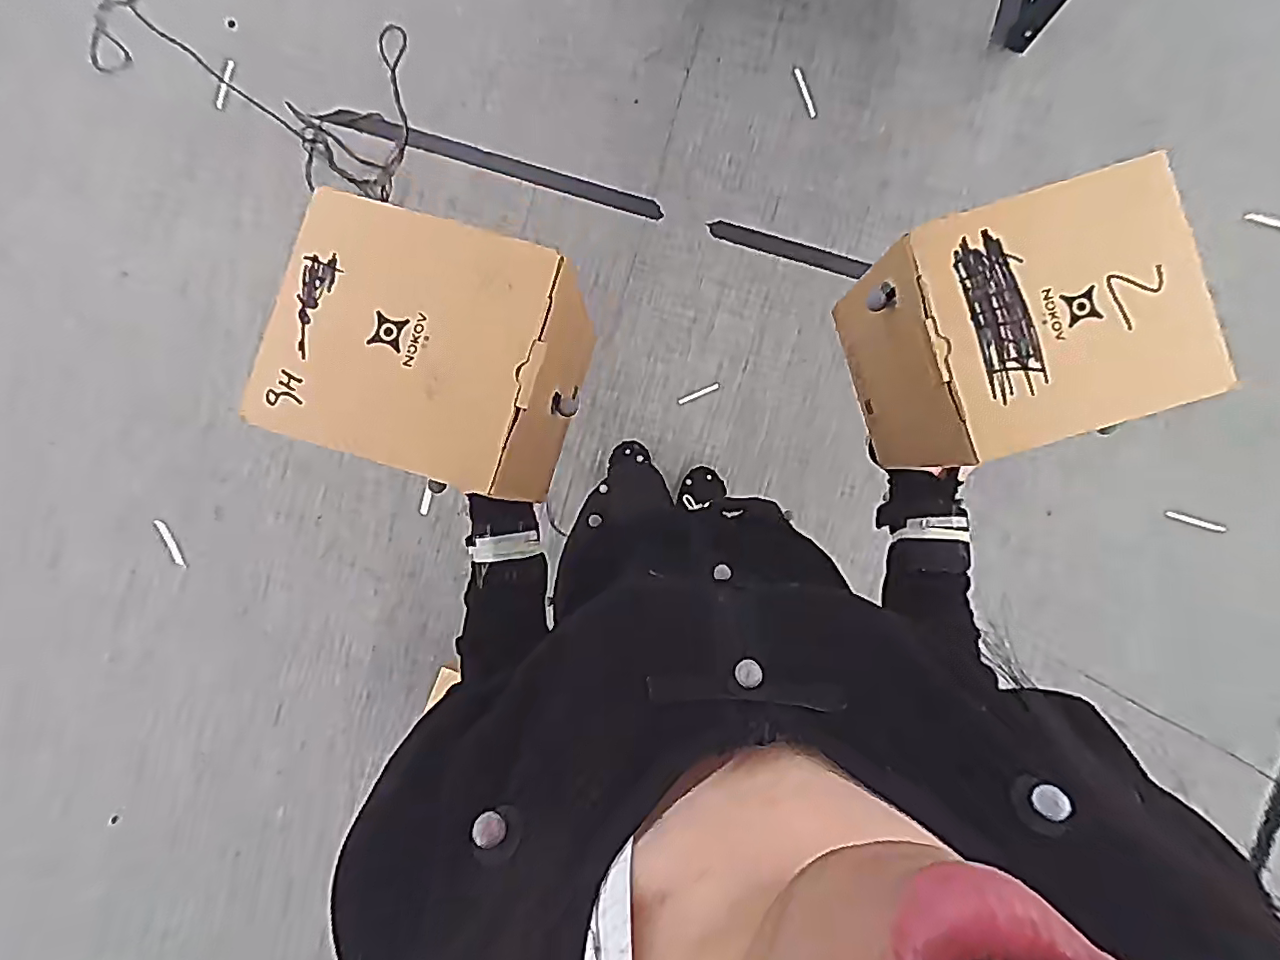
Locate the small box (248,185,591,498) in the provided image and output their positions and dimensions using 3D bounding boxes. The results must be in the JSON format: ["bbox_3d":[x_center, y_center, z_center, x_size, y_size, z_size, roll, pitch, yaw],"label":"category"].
[{"bbox_3d":[-0.146,-0.088,0.428,0.179,0.176,0.168,17,87,2],"label":"small box"}]
